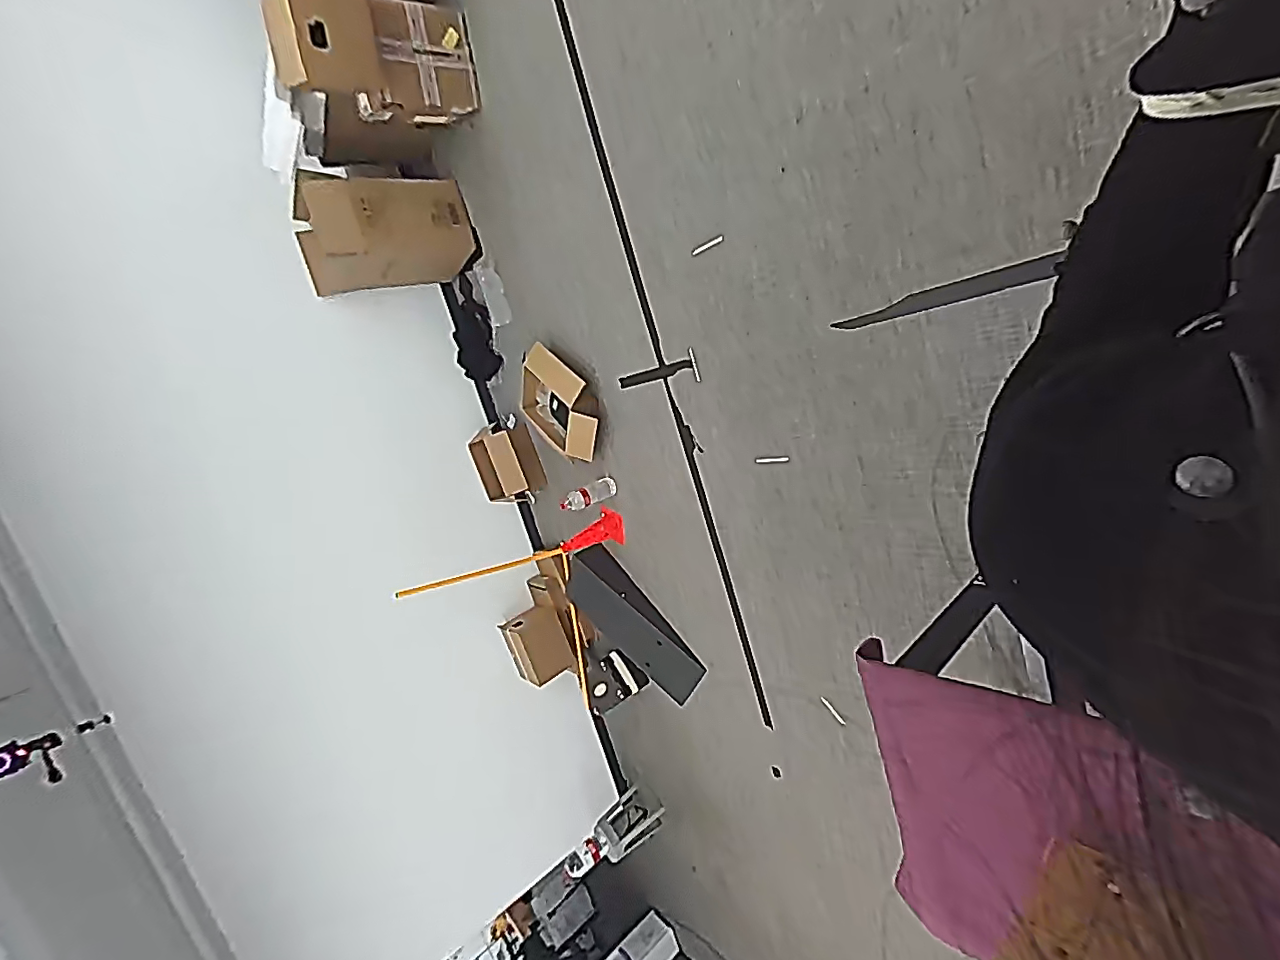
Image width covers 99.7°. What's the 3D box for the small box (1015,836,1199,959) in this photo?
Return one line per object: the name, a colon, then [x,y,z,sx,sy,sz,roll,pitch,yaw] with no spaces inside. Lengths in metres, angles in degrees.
small box: [0.654,0.662,0.759,0.168,0.176,0.179,6,115,52]
